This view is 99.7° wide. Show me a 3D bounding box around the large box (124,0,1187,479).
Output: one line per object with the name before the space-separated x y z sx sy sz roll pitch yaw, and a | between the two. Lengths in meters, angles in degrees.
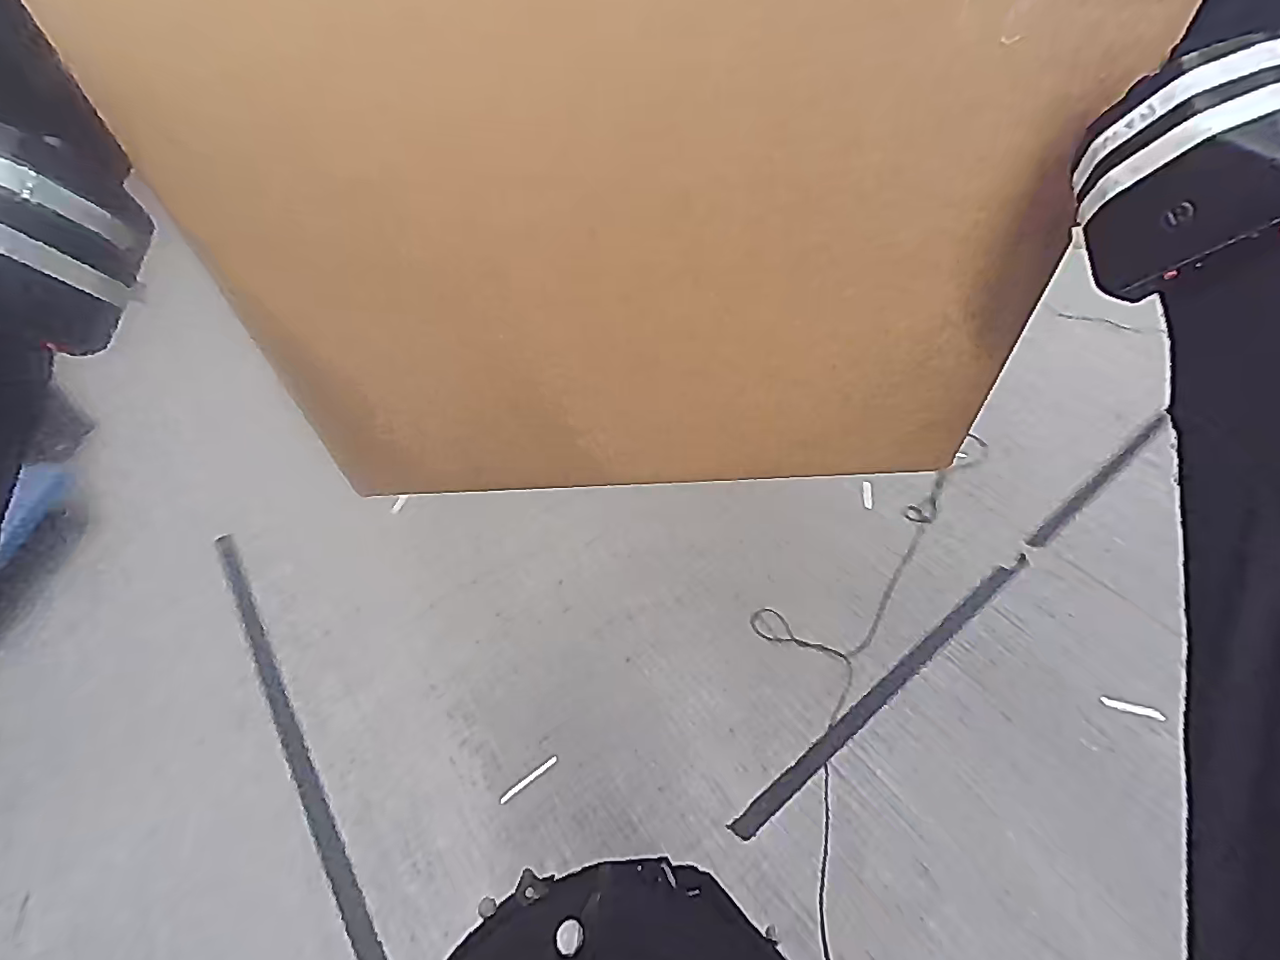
large box | 0.008 -0.217 0.370 0.408 0.320 0.320 -1 48 1
